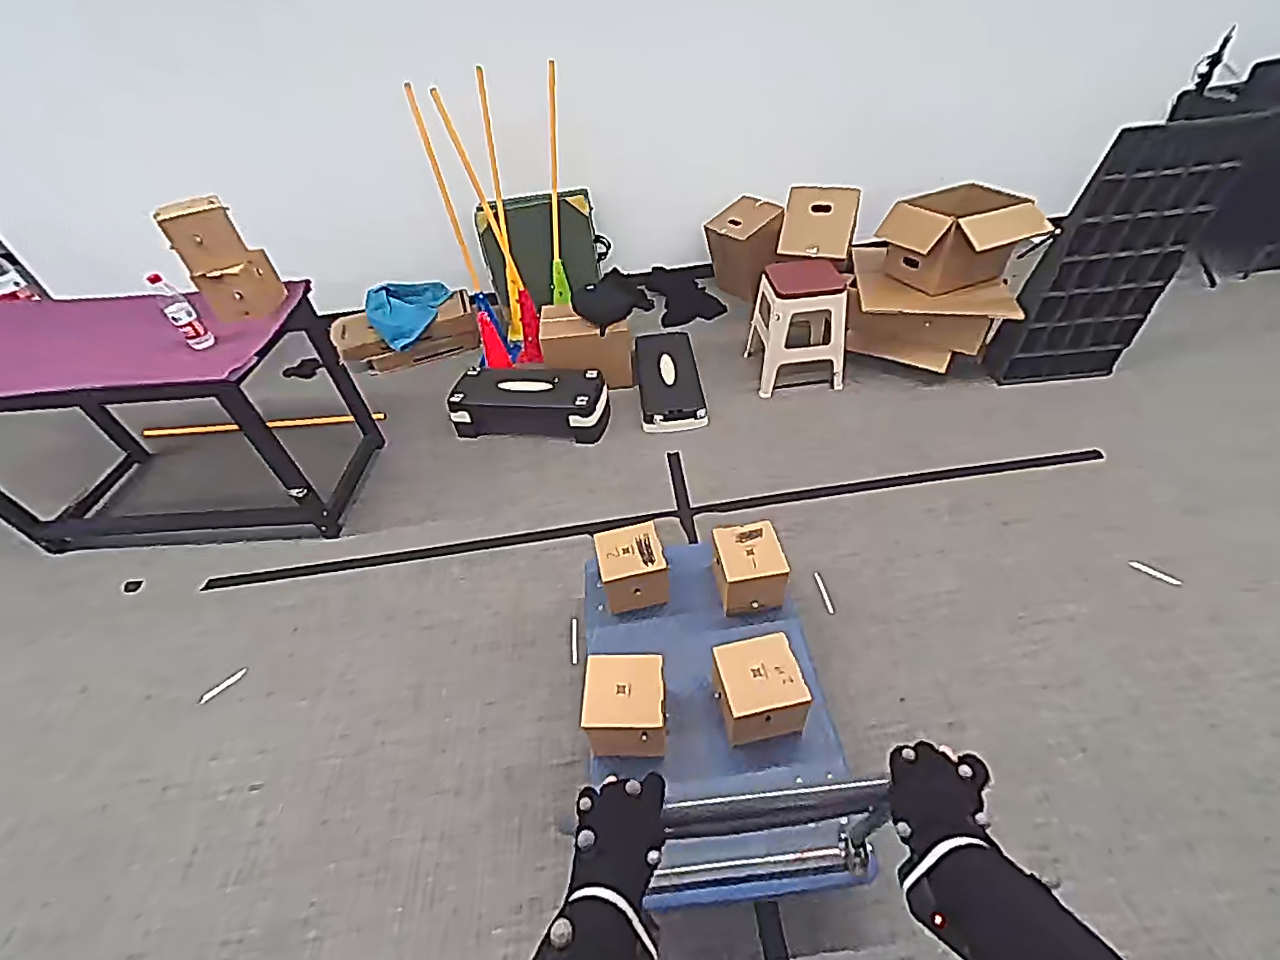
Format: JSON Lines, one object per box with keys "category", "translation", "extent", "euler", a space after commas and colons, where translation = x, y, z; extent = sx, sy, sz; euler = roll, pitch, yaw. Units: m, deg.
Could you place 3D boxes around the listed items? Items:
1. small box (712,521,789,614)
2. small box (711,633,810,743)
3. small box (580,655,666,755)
{"category": "small box", "translation": [0.293, 0.239, 1.480], "extent": [0.168, 0.176, 0.179], "euler": [-9, 46, -2]}
{"category": "small box", "translation": [0.270, 0.480, 1.243], "extent": [0.179, 0.176, 0.168], "euler": [-11, 45, -4]}
{"category": "small box", "translation": [-0.032, 0.518, 1.241], "extent": [0.179, 0.176, 0.168], "euler": [-2, 45, 3]}
